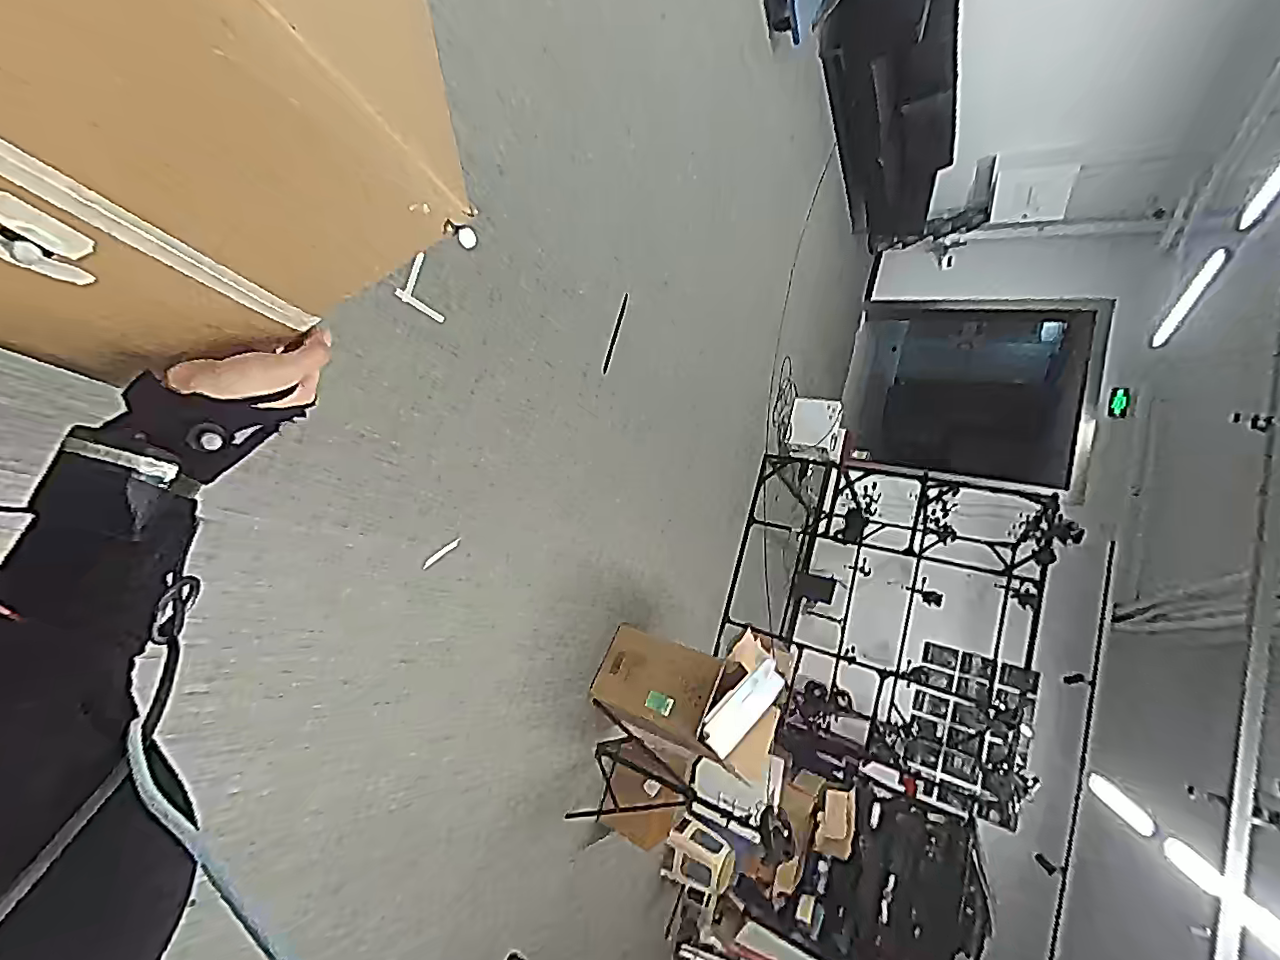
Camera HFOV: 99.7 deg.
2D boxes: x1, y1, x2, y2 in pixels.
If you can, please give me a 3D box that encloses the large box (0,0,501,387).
[{"bbox_3d":[-0.344,-0.315,0.289,0.408,0.320,0.320,33,39,-62],"label":"large box"}]
